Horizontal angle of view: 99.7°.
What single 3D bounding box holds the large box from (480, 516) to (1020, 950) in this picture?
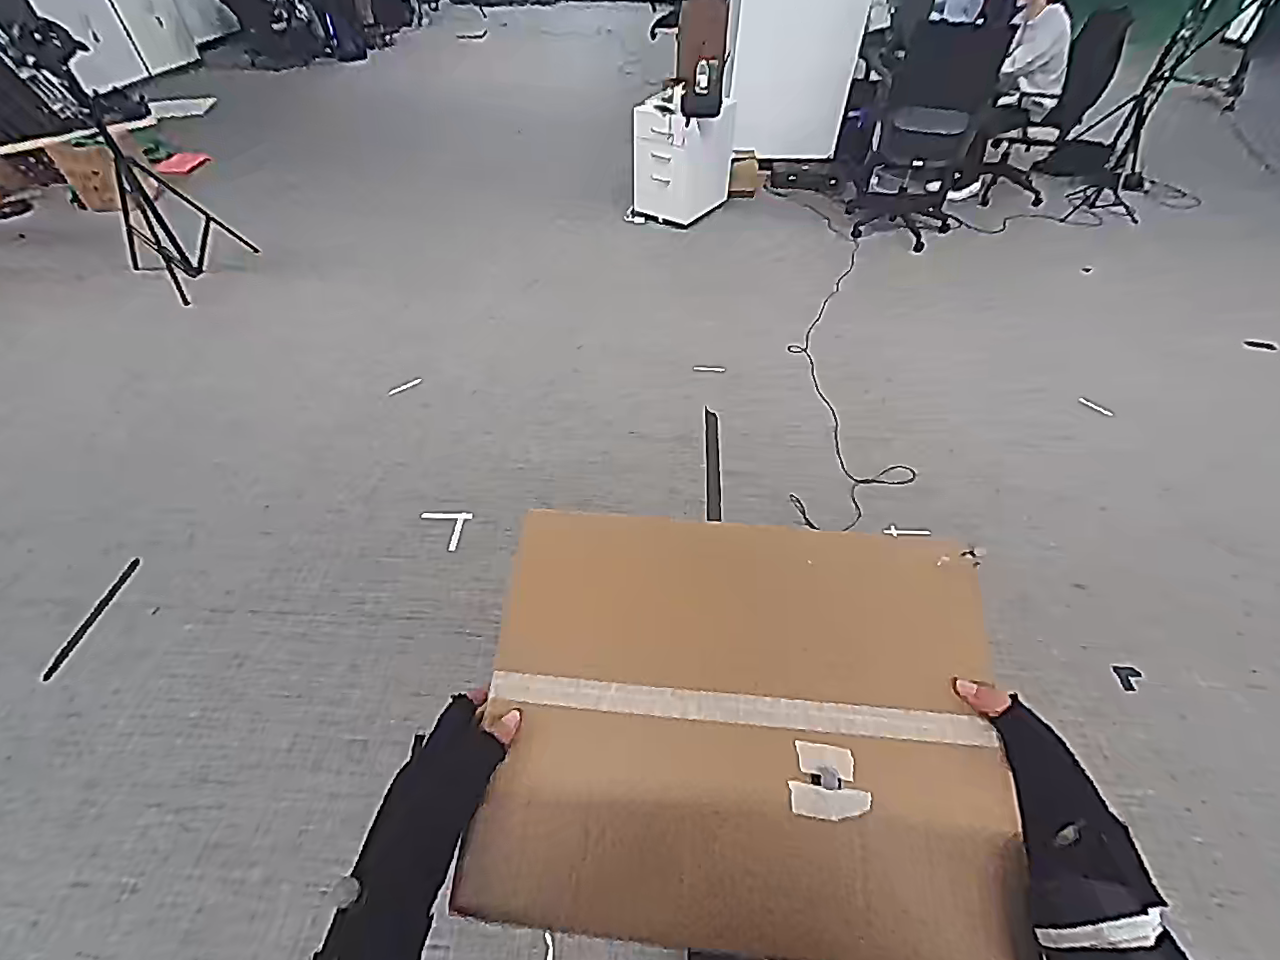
[{"bbox_3d":[0.091,0.246,0.592,0.408,0.320,0.320,4,66,5],"label":"large box"}]
